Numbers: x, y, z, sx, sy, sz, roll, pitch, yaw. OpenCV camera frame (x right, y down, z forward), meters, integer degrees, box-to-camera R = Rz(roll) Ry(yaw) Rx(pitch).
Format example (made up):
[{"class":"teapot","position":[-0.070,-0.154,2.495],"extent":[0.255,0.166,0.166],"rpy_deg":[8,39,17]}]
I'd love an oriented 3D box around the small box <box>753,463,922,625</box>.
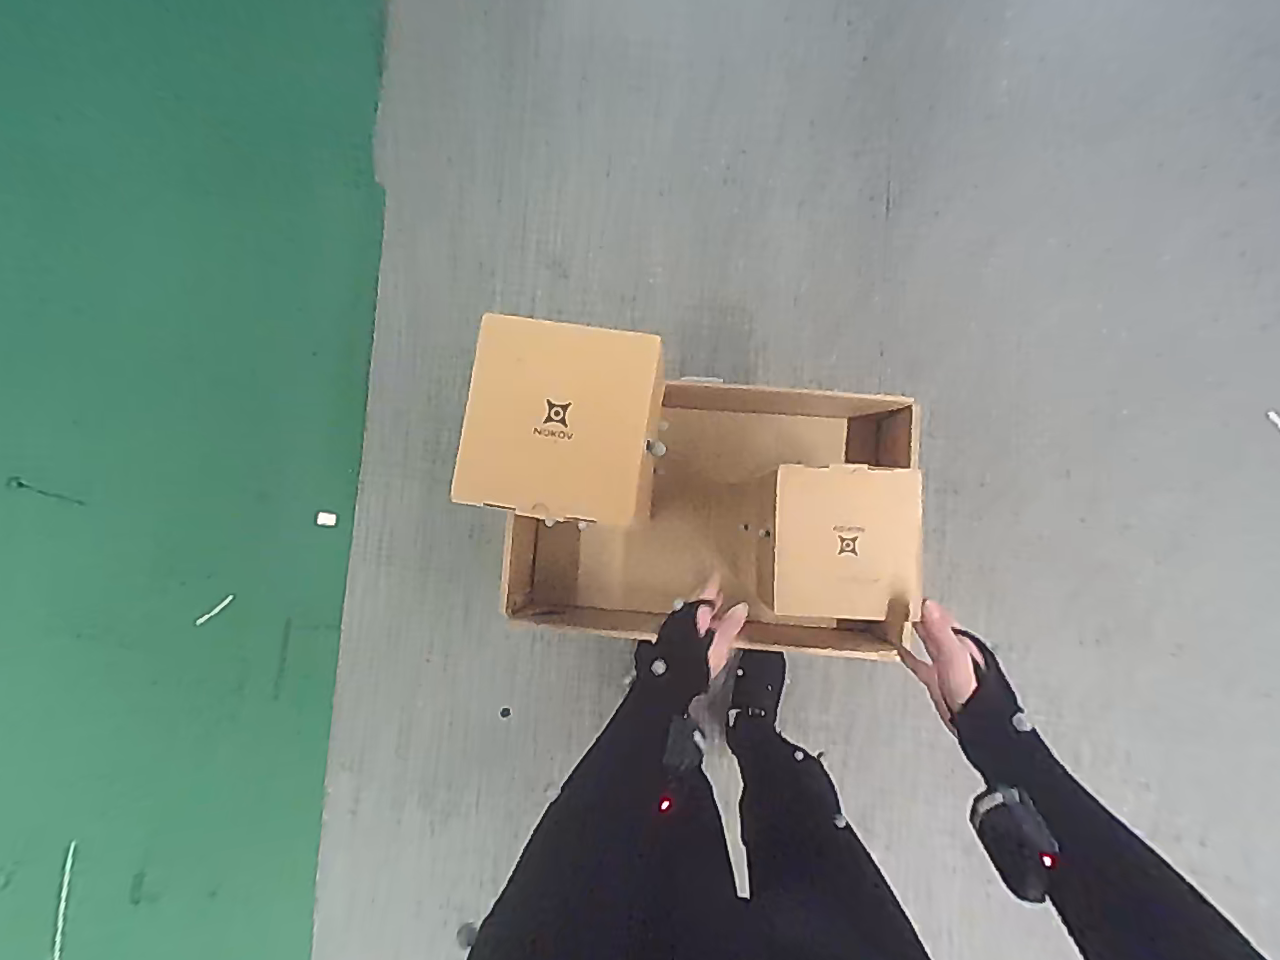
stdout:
[{"class":"small box","position":[0.242,0.078,0.699],"extent":[0.168,0.176,0.179],"rpy_deg":[4,86,4]}]

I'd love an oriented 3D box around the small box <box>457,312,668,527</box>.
[{"class":"small box","position":[-0.067,-0.050,0.563],"extent":[0.168,0.176,0.179],"rpy_deg":[9,86,3]}]

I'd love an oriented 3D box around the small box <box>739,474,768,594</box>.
[{"class":"small box","position":[0.252,0.090,0.862],"extent":[0.168,0.176,0.179],"rpy_deg":[4,85,3]}]
